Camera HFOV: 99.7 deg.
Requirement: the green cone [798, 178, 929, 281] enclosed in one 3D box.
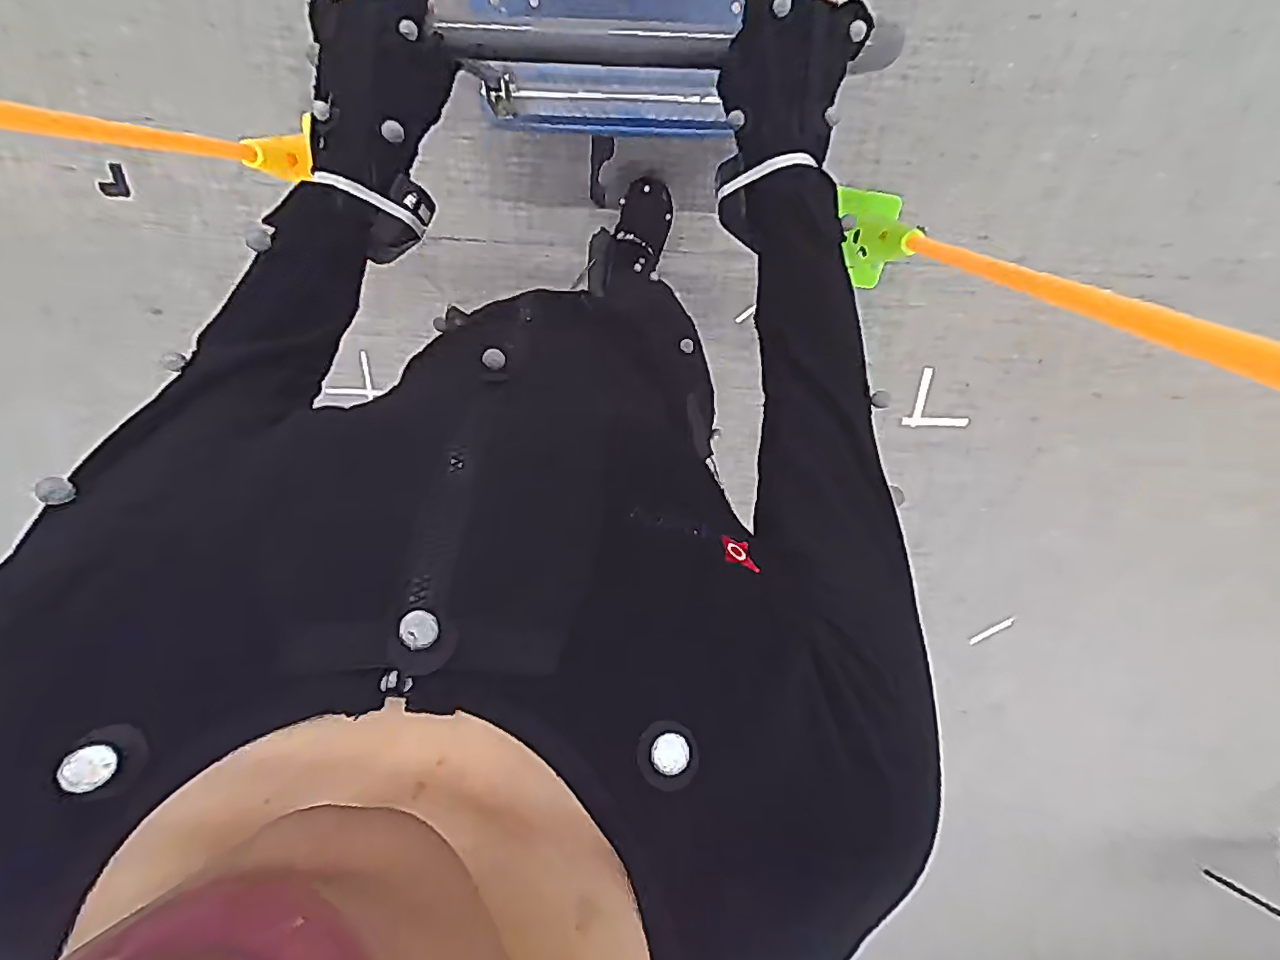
[{"bbox_3d":[0.478,-0.498,1.095,0.202,0.368,0.200,7,116,-3],"label":"green cone"}]
